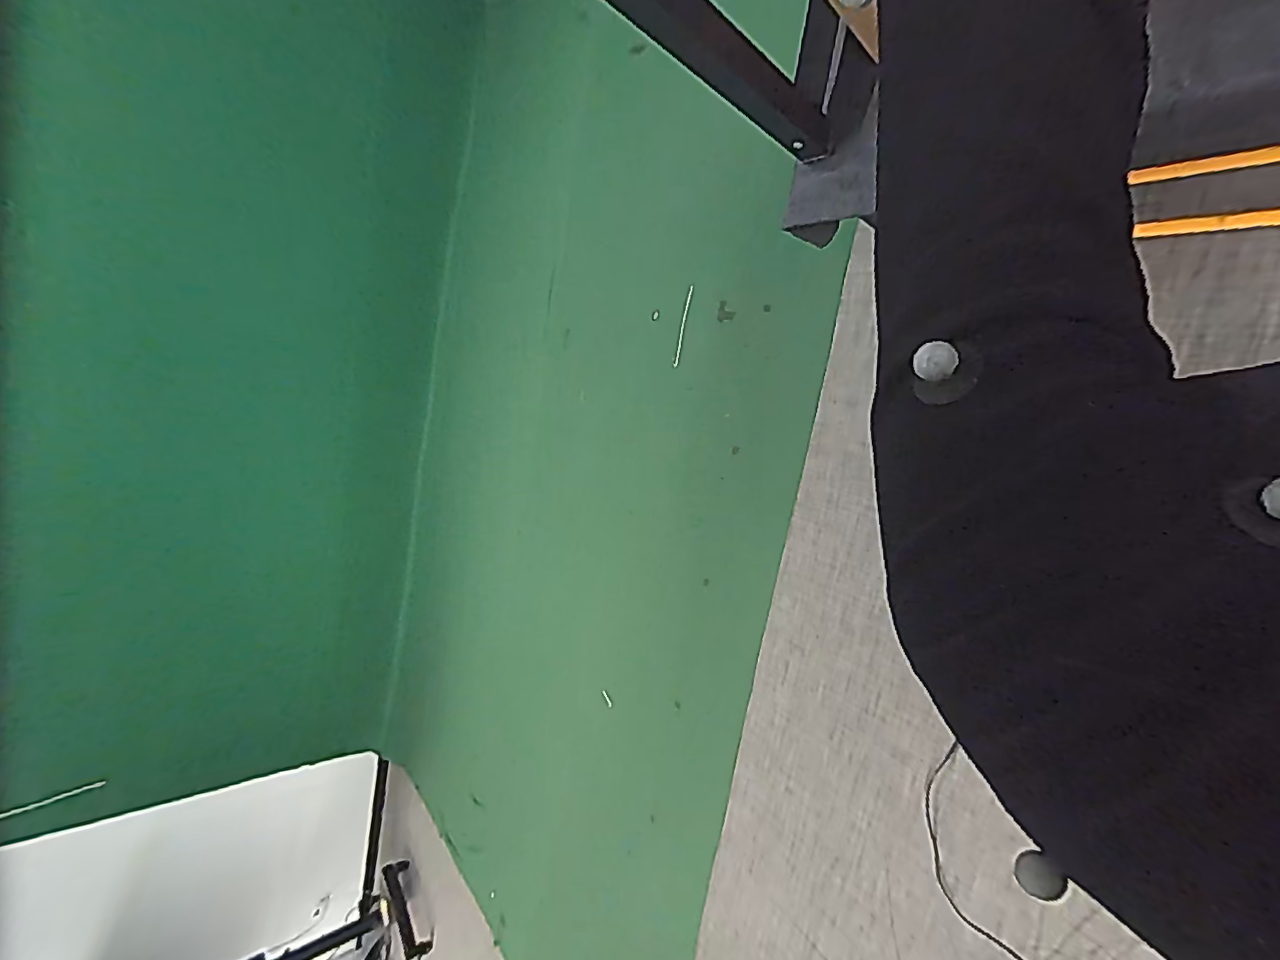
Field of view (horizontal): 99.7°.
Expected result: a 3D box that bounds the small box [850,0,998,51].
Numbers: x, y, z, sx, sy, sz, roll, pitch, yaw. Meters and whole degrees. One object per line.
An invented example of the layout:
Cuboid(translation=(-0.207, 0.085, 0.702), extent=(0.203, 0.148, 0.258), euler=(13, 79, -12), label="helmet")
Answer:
Cuboid(translation=(0.376, -0.726, 0.709), extent=(0.168, 0.176, 0.179), euler=(17, 101, 47), label="small box")
